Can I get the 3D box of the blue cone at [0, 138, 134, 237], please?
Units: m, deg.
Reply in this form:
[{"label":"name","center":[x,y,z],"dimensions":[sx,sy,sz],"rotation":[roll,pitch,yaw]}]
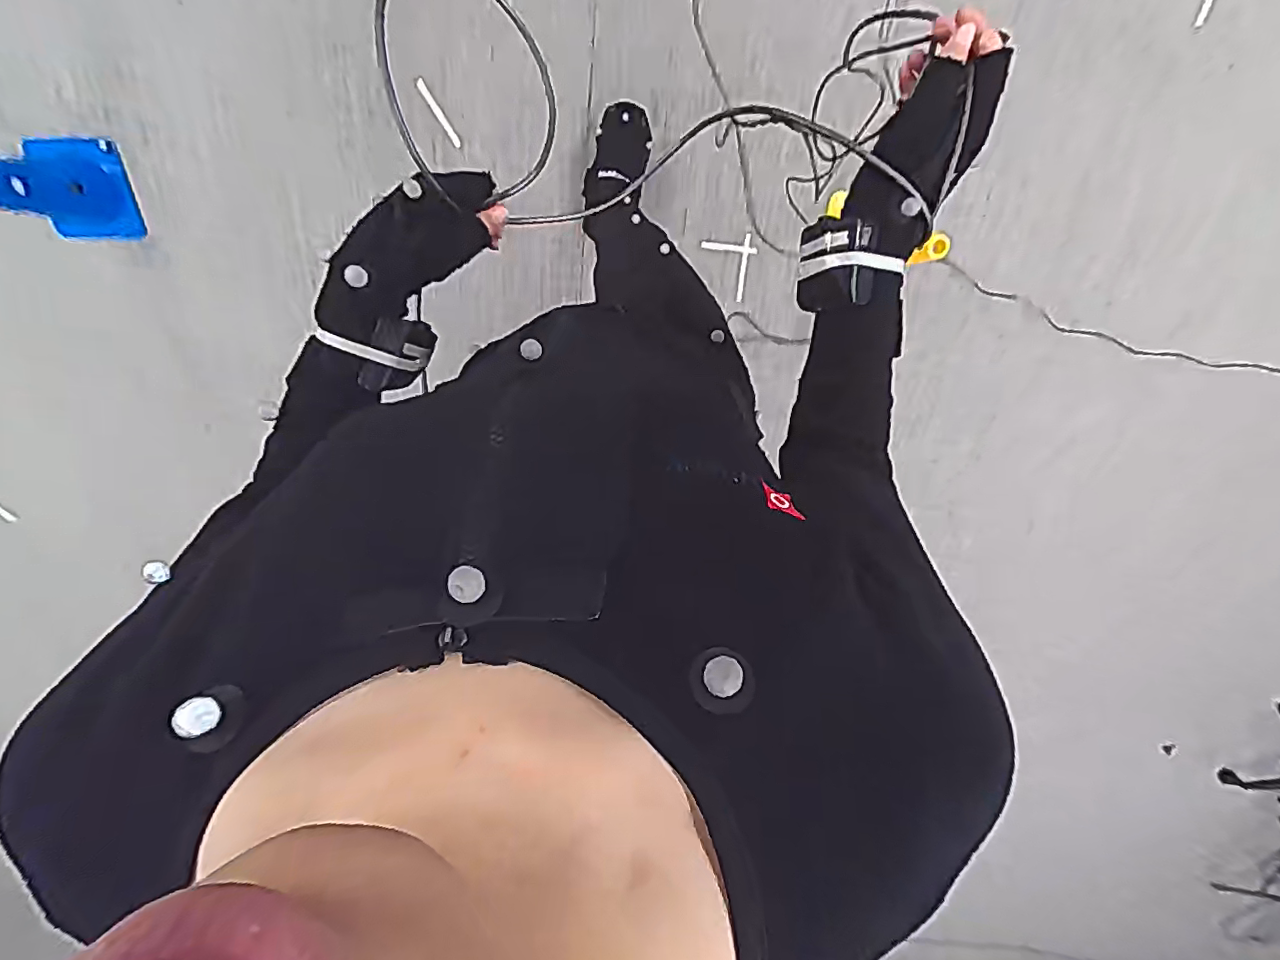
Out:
[{"label":"blue cone","center":[-1.233,-0.574,1.045],"dimensions":[0.193,0.380,0.192],"rotation":[0,115,-1]}]
